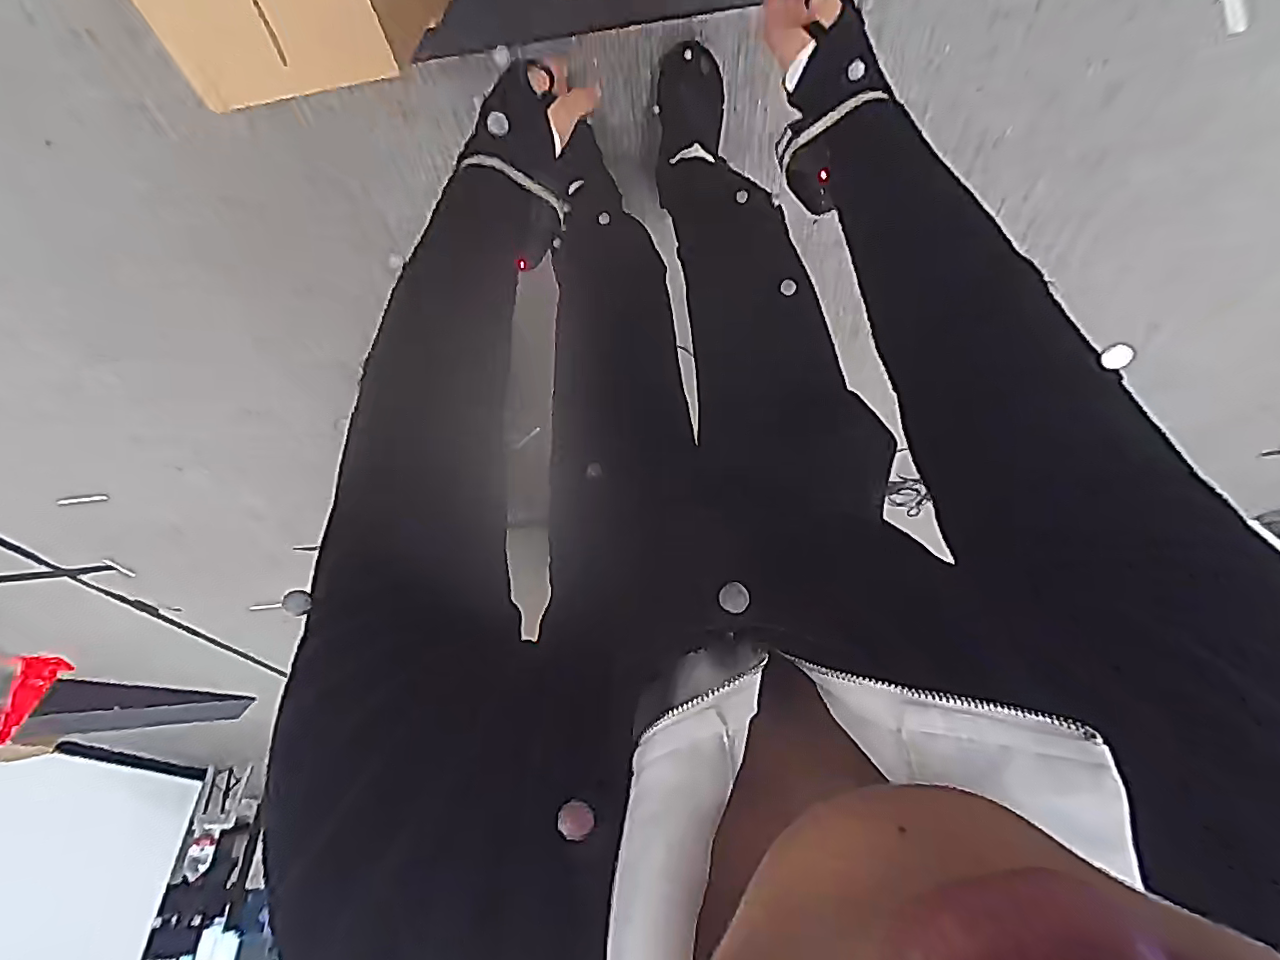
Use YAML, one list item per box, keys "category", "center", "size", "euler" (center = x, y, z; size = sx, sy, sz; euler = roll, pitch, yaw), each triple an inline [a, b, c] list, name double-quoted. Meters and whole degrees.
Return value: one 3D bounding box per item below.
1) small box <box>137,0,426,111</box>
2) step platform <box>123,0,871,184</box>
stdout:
- category: "small box"
  center: [-0.288, -0.427, 0.419]
  size: [0.168, 0.176, 0.179]
  euler: [-9, 143, 3]
- category: "step platform"
  center: [-0.129, -0.521, 0.533]
  size: [0.684, 0.204, 0.286]
  euler: [-8, 143, 2]
